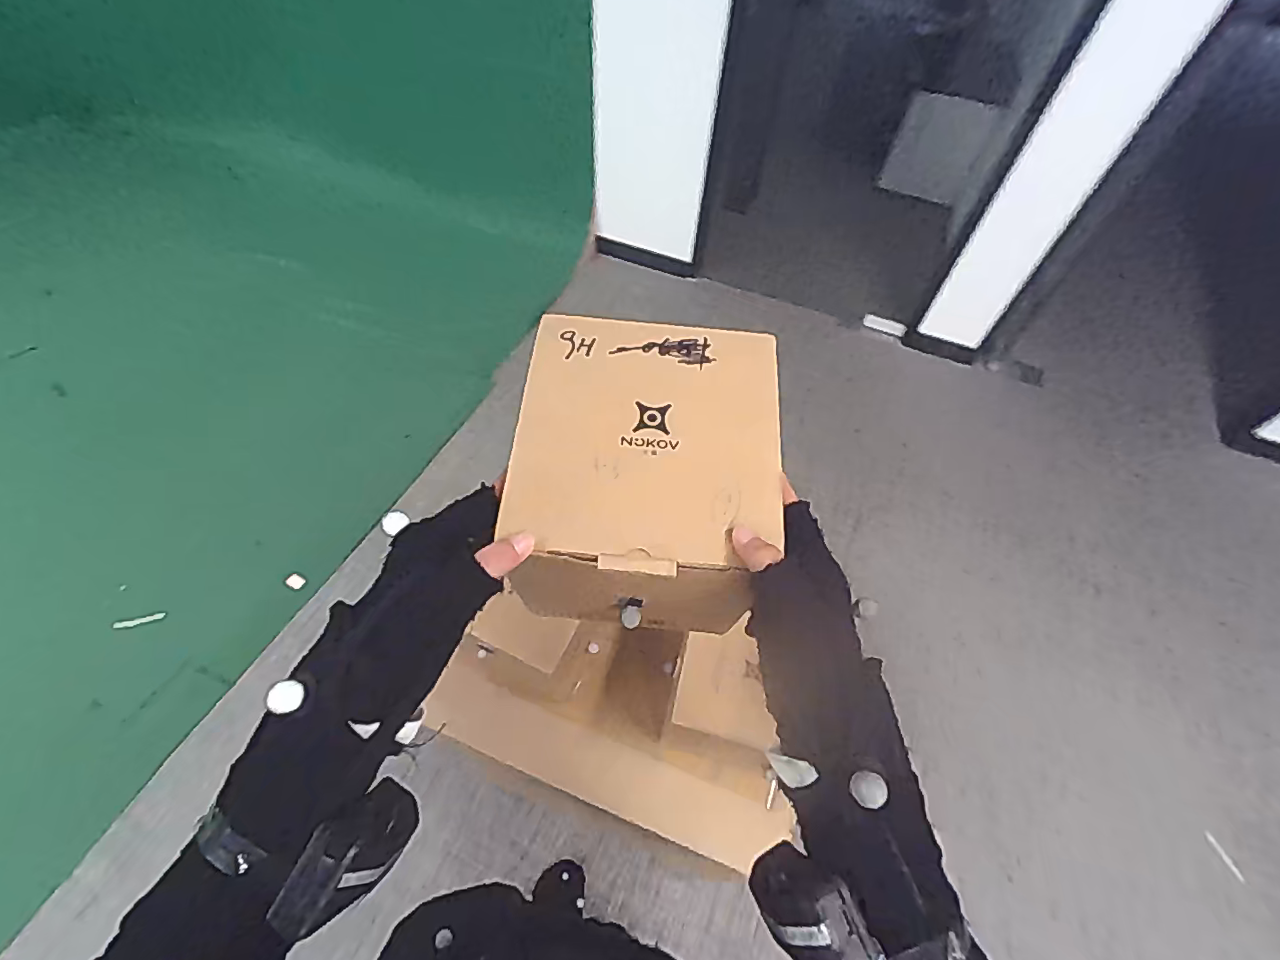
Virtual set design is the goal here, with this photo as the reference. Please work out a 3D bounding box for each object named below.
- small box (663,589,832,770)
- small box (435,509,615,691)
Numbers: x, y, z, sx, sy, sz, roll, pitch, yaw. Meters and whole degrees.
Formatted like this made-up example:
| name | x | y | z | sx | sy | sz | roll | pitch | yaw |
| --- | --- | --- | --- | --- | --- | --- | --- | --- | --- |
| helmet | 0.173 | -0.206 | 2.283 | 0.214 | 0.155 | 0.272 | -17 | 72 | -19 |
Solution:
| name | x | y | z | sx | sy | sz | roll | pitch | yaw |
| --- | --- | --- | --- | --- | --- | --- | --- | --- | --- |
| small box | 0.134 | 0.268 | 0.710 | 0.179 | 0.176 | 0.168 | 12 | 56 | 7 |
| small box | -0.147 | 0.174 | 0.758 | 0.179 | 0.176 | 0.168 | 23 | 59 | 12 |
